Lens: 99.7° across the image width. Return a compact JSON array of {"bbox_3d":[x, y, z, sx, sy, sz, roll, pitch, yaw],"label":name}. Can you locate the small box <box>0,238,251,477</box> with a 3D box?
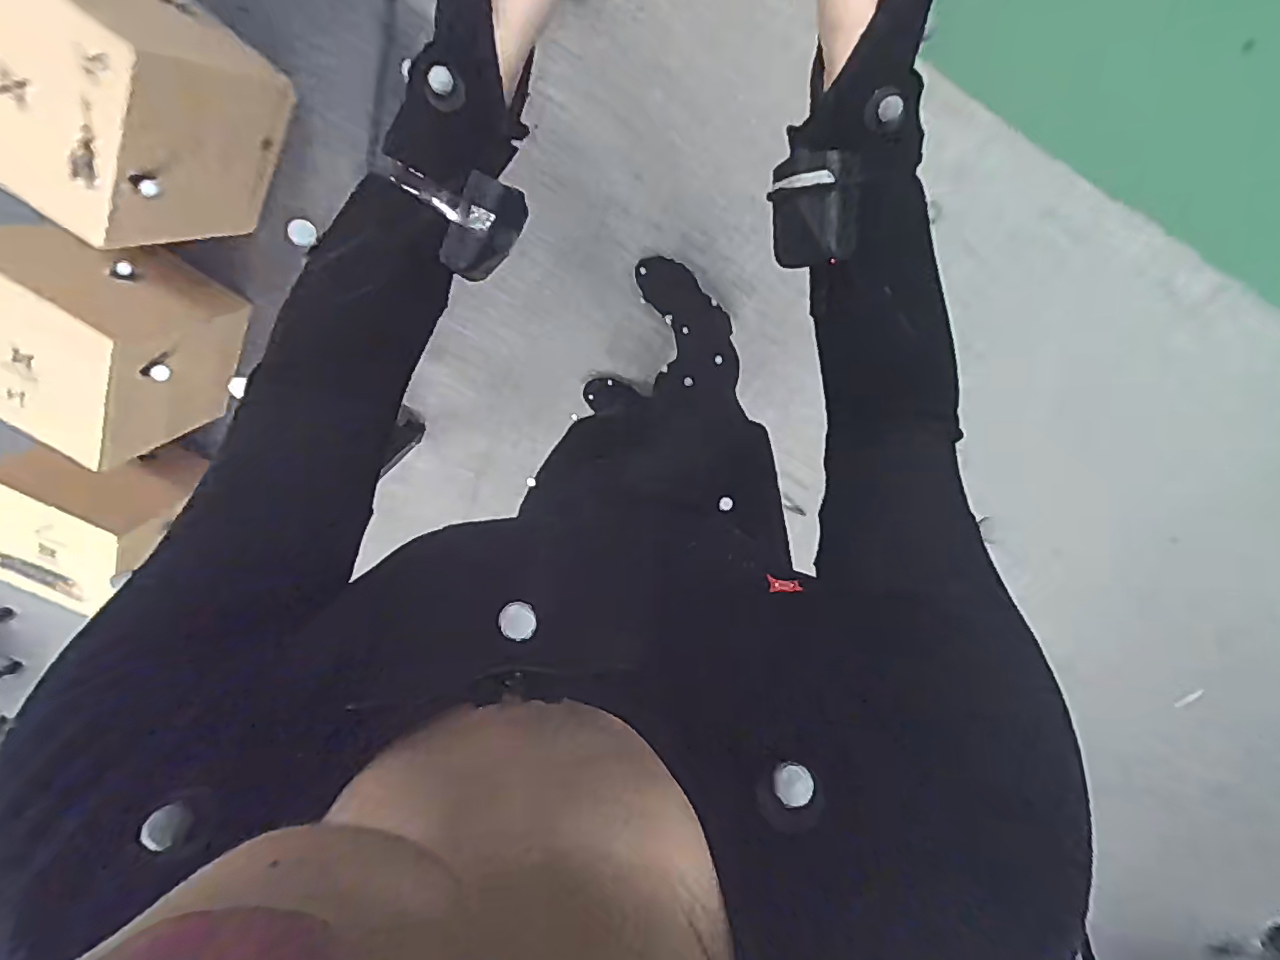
[{"bbox_3d":[-0.572,-0.143,0.590,0.168,0.176,0.179,34,119,-9],"label":"small box"}]

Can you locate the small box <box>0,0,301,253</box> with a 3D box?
[{"bbox_3d":[-0.449,-0.326,0.469,0.179,0.176,0.168,37,118,-11],"label":"small box"}]
